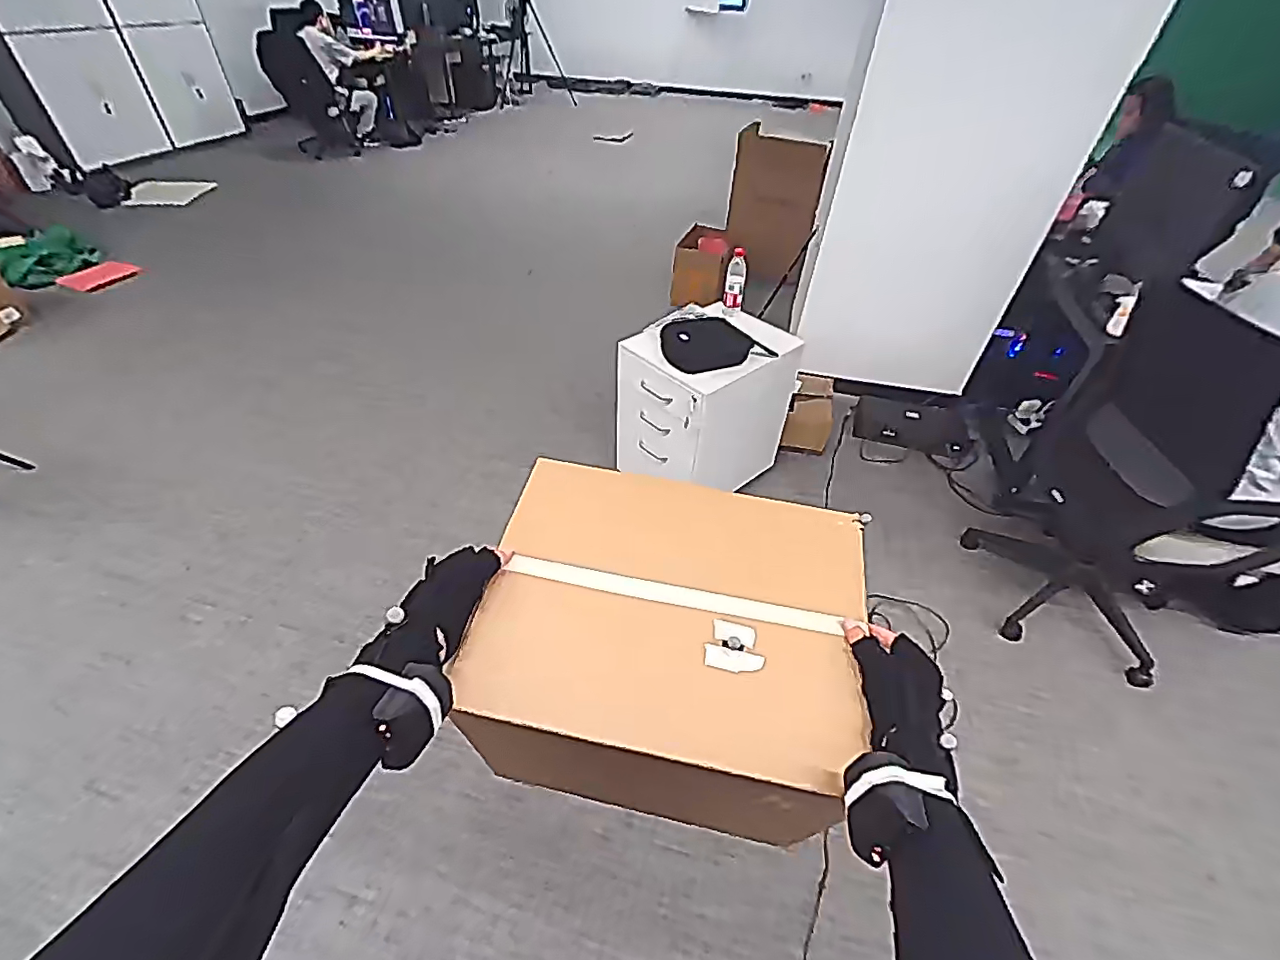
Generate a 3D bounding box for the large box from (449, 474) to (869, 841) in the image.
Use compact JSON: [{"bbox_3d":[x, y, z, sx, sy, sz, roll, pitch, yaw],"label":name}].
[{"bbox_3d":[0.028,0.232,0.704,0.408,0.320,0.320,10,51,5],"label":"large box"}]
